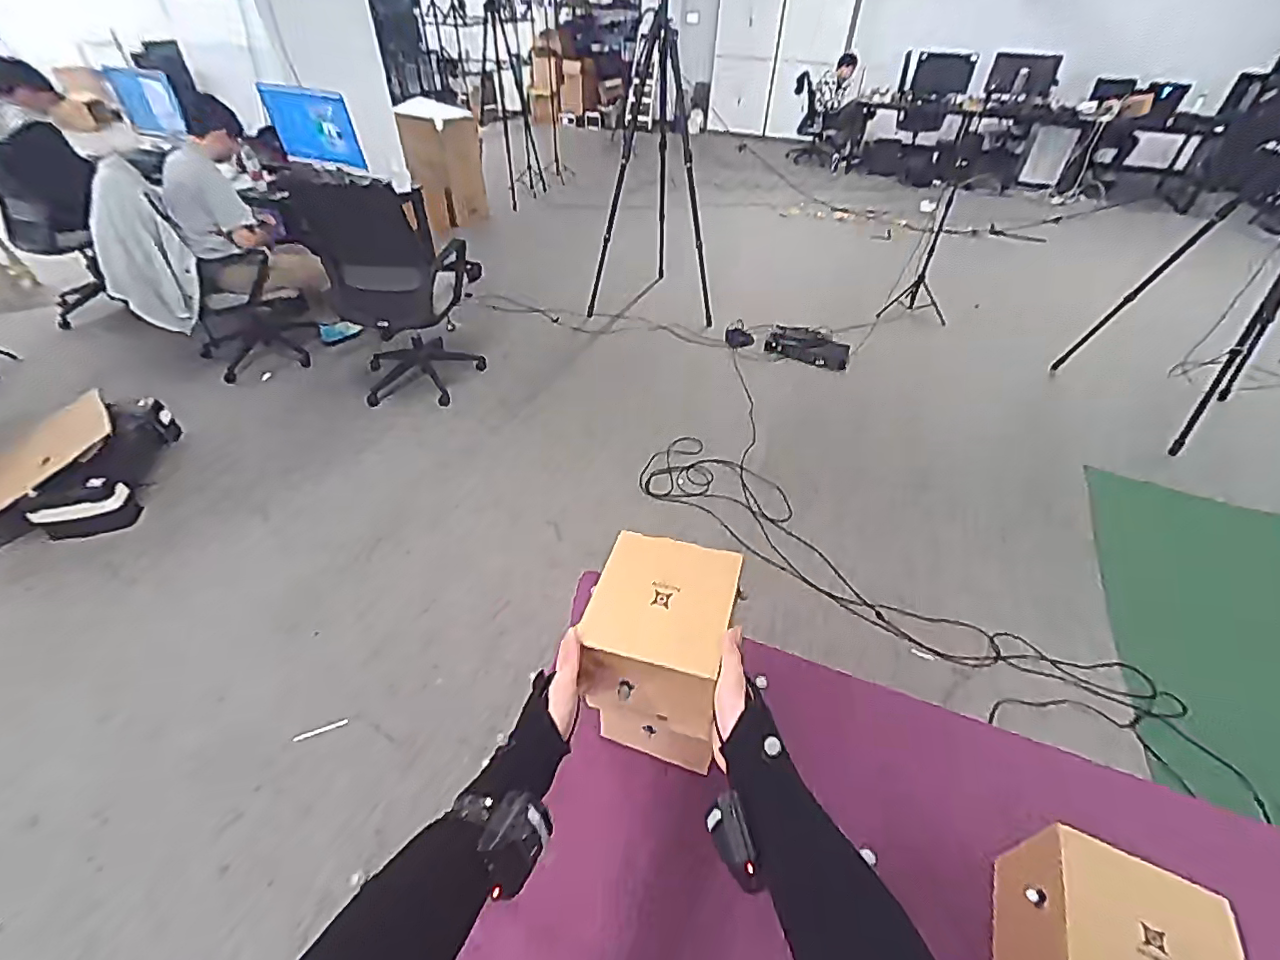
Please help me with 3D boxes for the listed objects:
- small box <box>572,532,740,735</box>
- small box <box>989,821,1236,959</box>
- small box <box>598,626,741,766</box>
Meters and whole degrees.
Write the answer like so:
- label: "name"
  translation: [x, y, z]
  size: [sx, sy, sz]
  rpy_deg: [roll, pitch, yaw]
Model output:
- label: "small box"
  translation: [0.029, 0.197, 0.694]
  size: [0.168, 0.176, 0.179]
  rpy_deg: [10, 44, 13]
- label: "small box"
  translation: [0.522, 0.541, 0.615]
  size: [0.168, 0.176, 0.179]
  rpy_deg: [20, 45, 19]
- label: "small box"
  translation: [0.045, 0.318, 0.846]
  size: [0.179, 0.176, 0.168]
  rpy_deg: [14, 43, 14]
